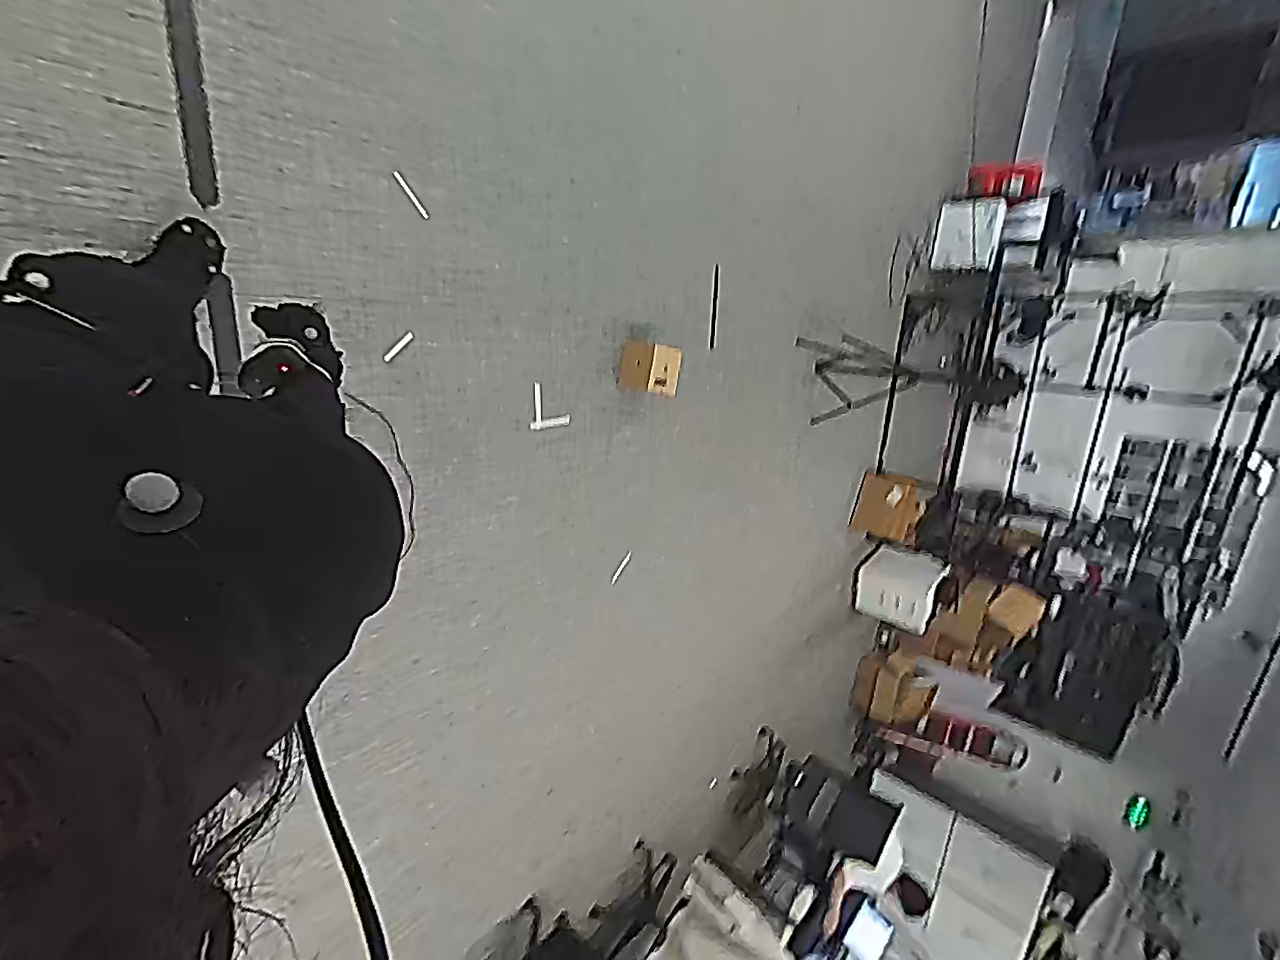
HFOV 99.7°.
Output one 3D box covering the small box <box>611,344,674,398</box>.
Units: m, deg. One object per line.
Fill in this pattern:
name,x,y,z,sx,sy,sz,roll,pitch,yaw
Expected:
small box,0.005,-0.428,2.125,0.168,0.176,0.179,2,100,-49
